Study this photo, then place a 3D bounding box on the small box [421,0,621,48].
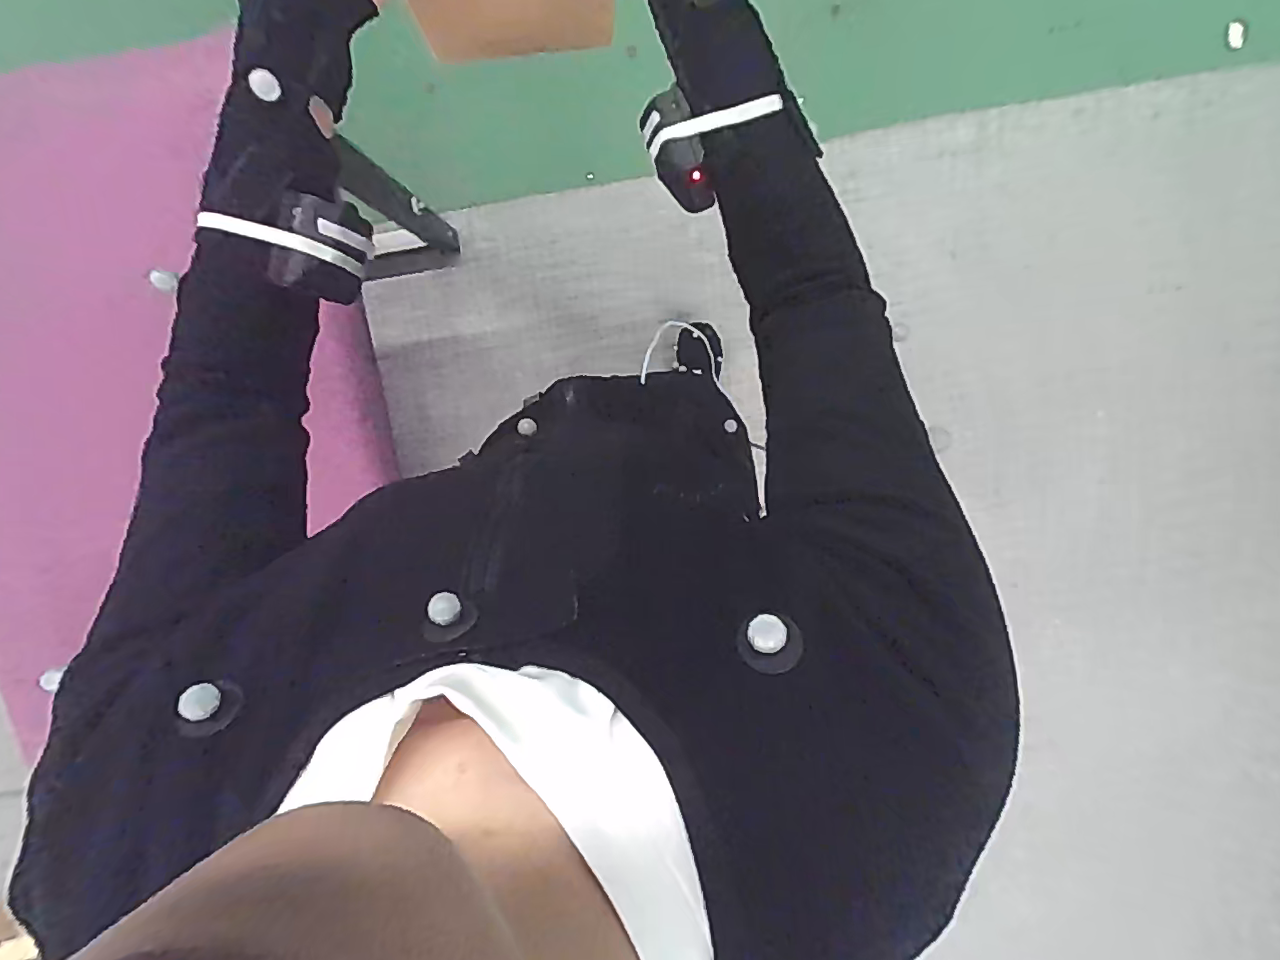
[{"bbox_3d":[-0.105,-0.477,0.422,0.179,0.176,0.168,-8,102,-5],"label":"small box"}]
